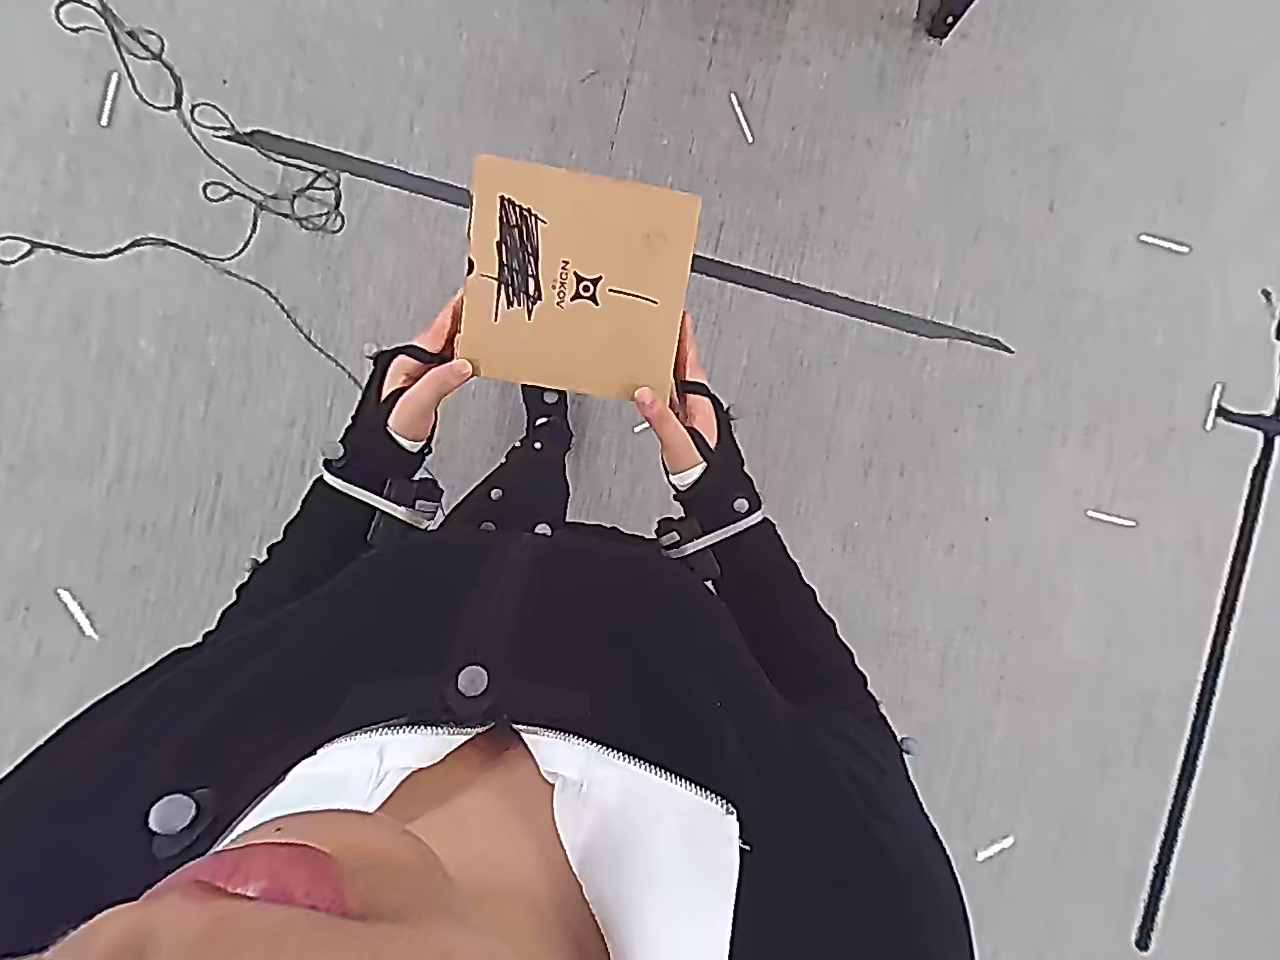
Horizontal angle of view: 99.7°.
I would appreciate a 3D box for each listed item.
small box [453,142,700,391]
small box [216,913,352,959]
[{"bbox_3d":[-0.055,-0.177,0.503,0.179,0.176,0.168,8,100,-5],"label":"small box"},{"bbox_3d":[-0.536,0.771,0.759,0.168,0.176,0.179,14,89,-6],"label":"small box"}]
